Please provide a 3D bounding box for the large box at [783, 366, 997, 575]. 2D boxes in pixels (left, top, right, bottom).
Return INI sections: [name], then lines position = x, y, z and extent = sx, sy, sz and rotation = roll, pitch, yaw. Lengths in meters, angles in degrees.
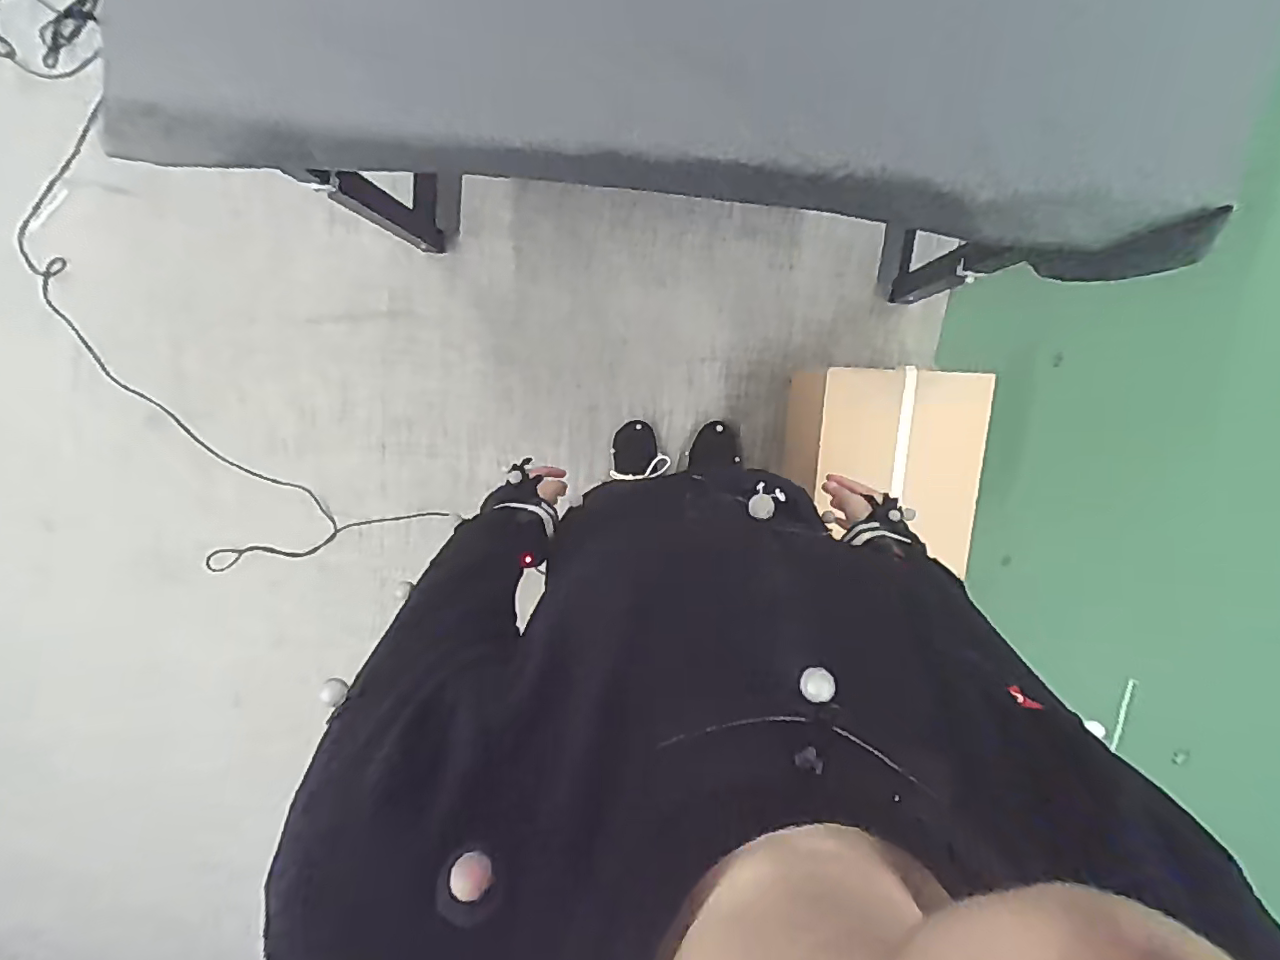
[large box]
position = 0.510, -0.040, 1.182
extent = 0.320, 0.320, 0.408
rotation = 3, 100, 3
